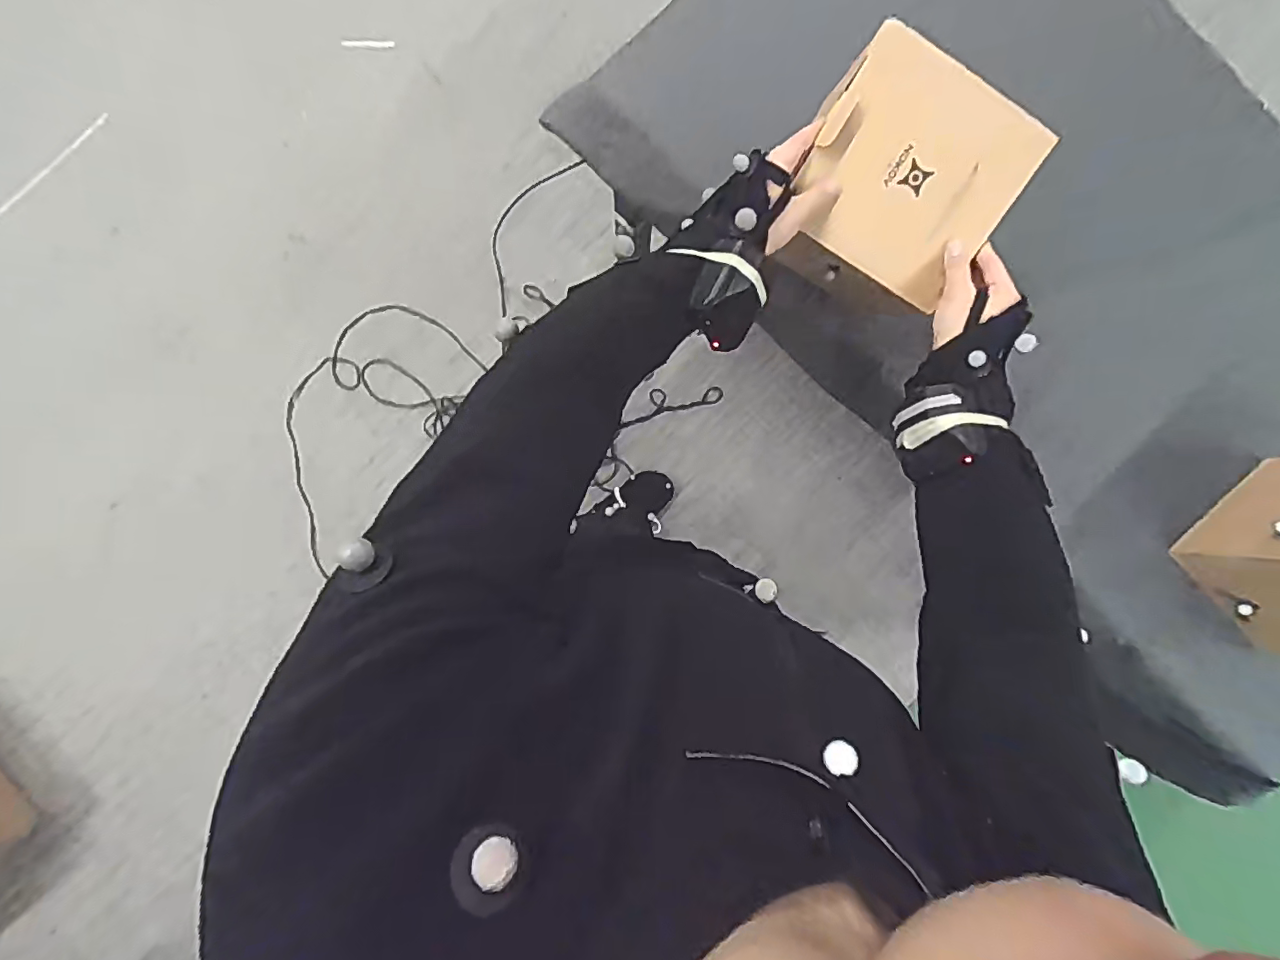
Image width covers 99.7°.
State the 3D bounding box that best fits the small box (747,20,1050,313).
[{"bbox_3d":[0.225,-0.277,0.529,0.179,0.176,0.168,28,106,-7],"label":"small box"}]
